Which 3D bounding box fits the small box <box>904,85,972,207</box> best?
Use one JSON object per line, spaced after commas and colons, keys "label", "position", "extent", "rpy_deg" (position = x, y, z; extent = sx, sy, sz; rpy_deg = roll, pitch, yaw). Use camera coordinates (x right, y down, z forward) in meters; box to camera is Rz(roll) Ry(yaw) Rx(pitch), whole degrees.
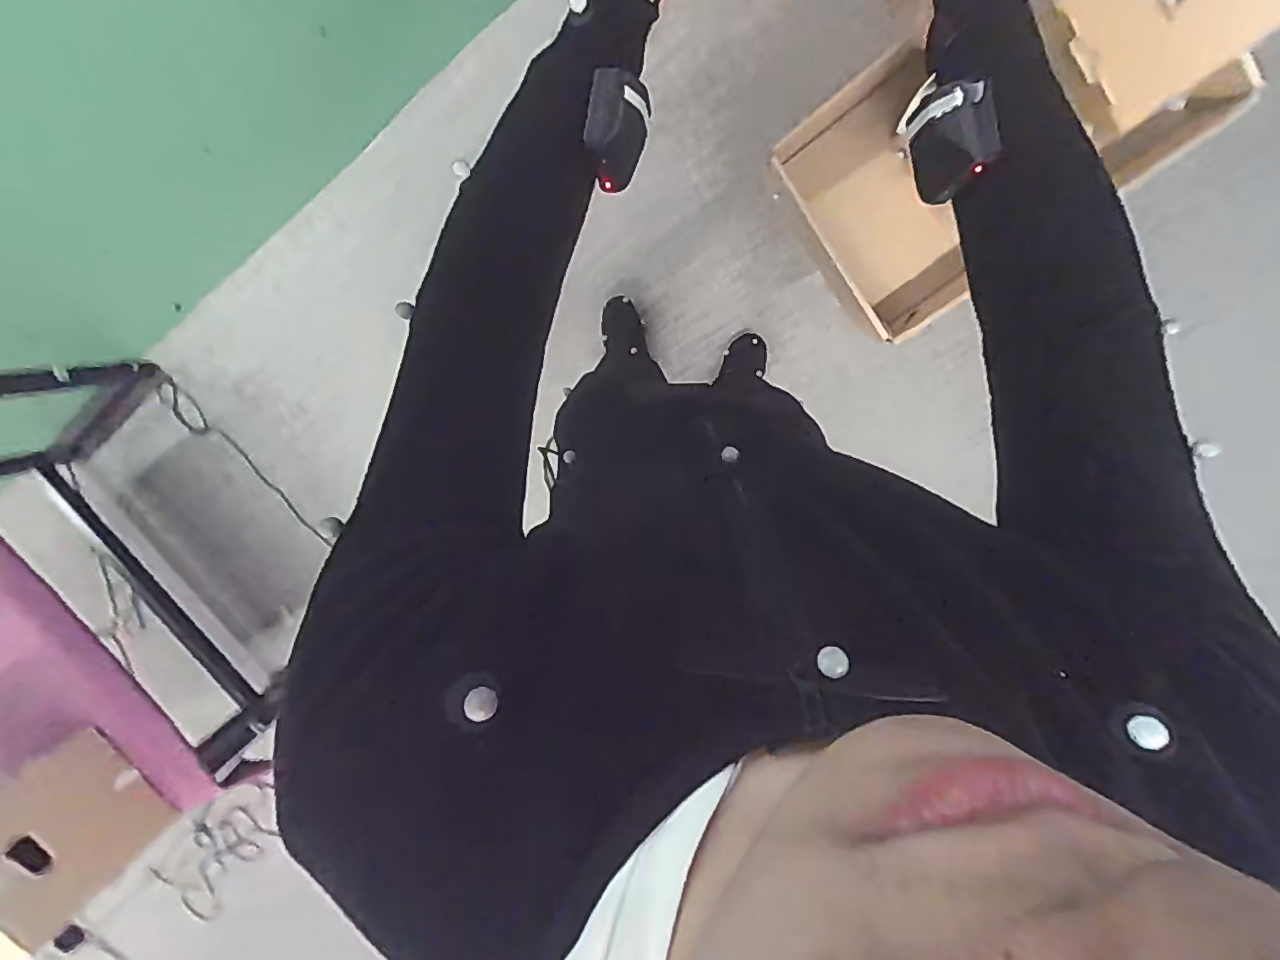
{"label": "small box", "position": [0.566, -0.587, 0.894], "extent": [0.179, 0.176, 0.168], "rpy_deg": [-33, 100, 14]}

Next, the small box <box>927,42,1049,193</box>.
{"label": "small box", "position": [0.539, -0.533, 0.741], "extent": [0.179, 0.176, 0.168], "rpy_deg": [-34, 99, 15]}

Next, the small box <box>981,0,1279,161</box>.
{"label": "small box", "position": [0.523, -0.490, 0.585], "extent": [0.179, 0.176, 0.168], "rpy_deg": [-34, 100, 15]}
